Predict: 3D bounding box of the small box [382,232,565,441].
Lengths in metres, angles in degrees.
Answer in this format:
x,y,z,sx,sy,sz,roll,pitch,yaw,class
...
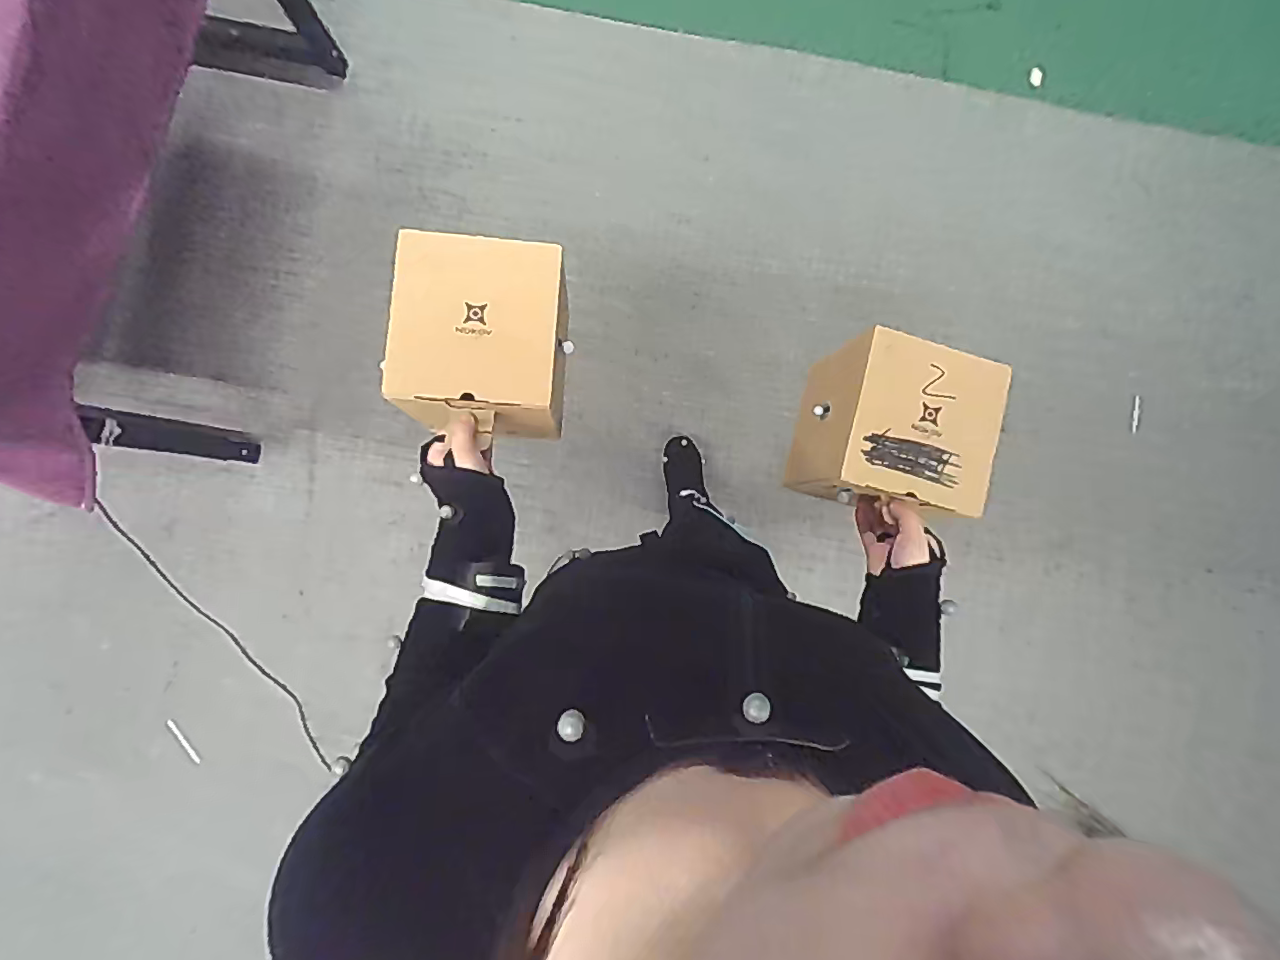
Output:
x,y,z,sx,sy,sz,roll,pitch,yaw,class
-0.174,-0.150,0.619,0.168,0.176,0.179,3,84,-6,small box
